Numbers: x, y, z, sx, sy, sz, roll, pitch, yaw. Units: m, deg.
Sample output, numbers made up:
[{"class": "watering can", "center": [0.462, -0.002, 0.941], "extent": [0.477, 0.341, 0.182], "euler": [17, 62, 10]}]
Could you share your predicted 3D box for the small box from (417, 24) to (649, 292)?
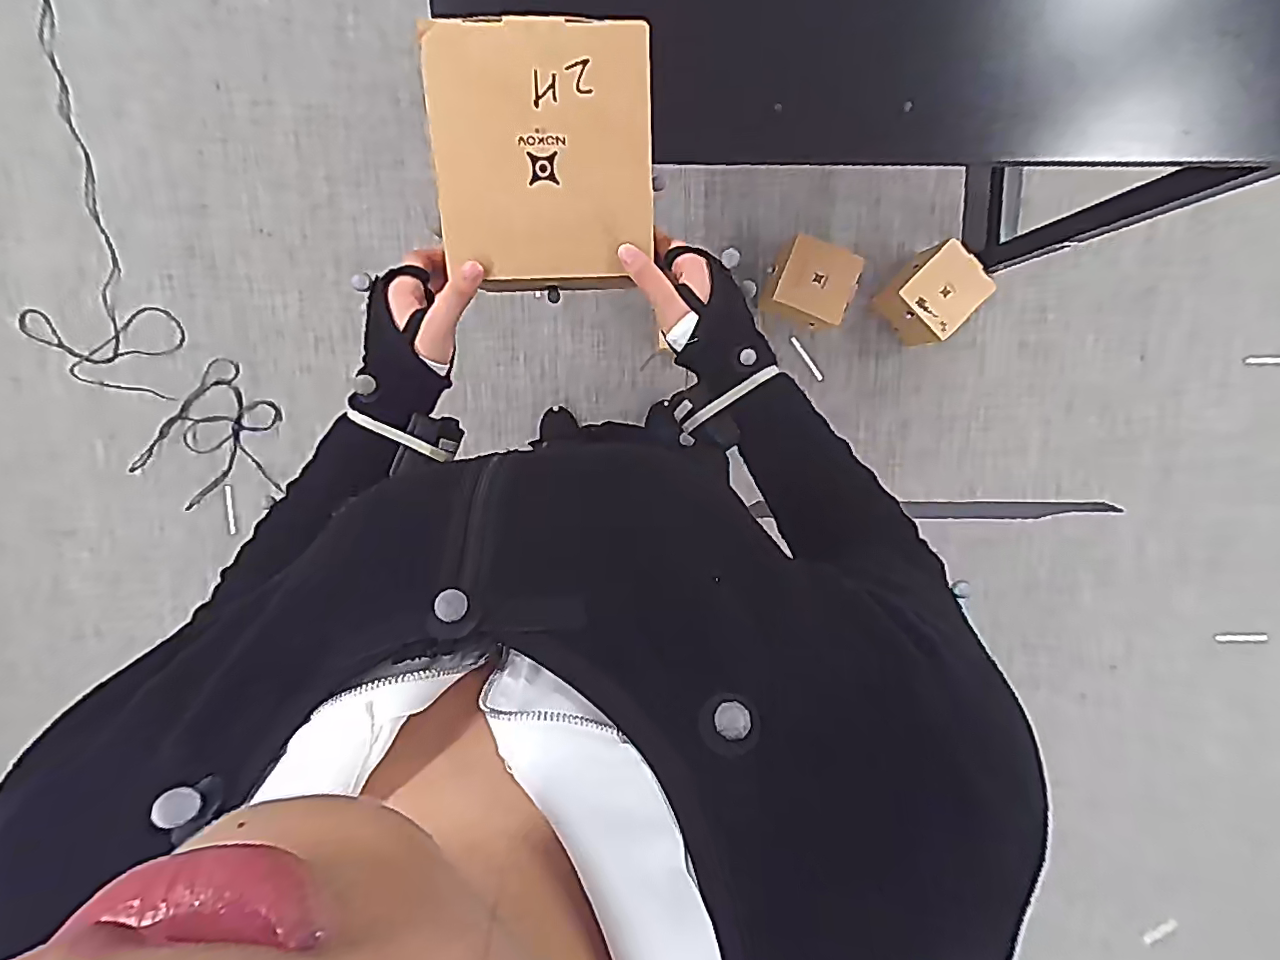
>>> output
[{"class": "small box", "center": [-0.080, -0.264, 0.486], "extent": [0.168, 0.176, 0.179], "euler": [-4, 106, -4]}]

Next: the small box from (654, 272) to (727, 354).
[{"class": "small box", "center": [0.120, -0.412, 1.353], "extent": [0.168, 0.176, 0.179], "euler": [-1, 100, -1]}]

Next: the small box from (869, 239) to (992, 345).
[{"class": "small box", "center": [0.716, -0.459, 1.353], "extent": [0.168, 0.176, 0.179], "euler": [43, 96, -6]}]

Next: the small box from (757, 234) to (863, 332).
[{"class": "small box", "center": [0.414, -0.480, 1.348], "extent": [0.179, 0.176, 0.168], "euler": [20, 97, -3]}]
